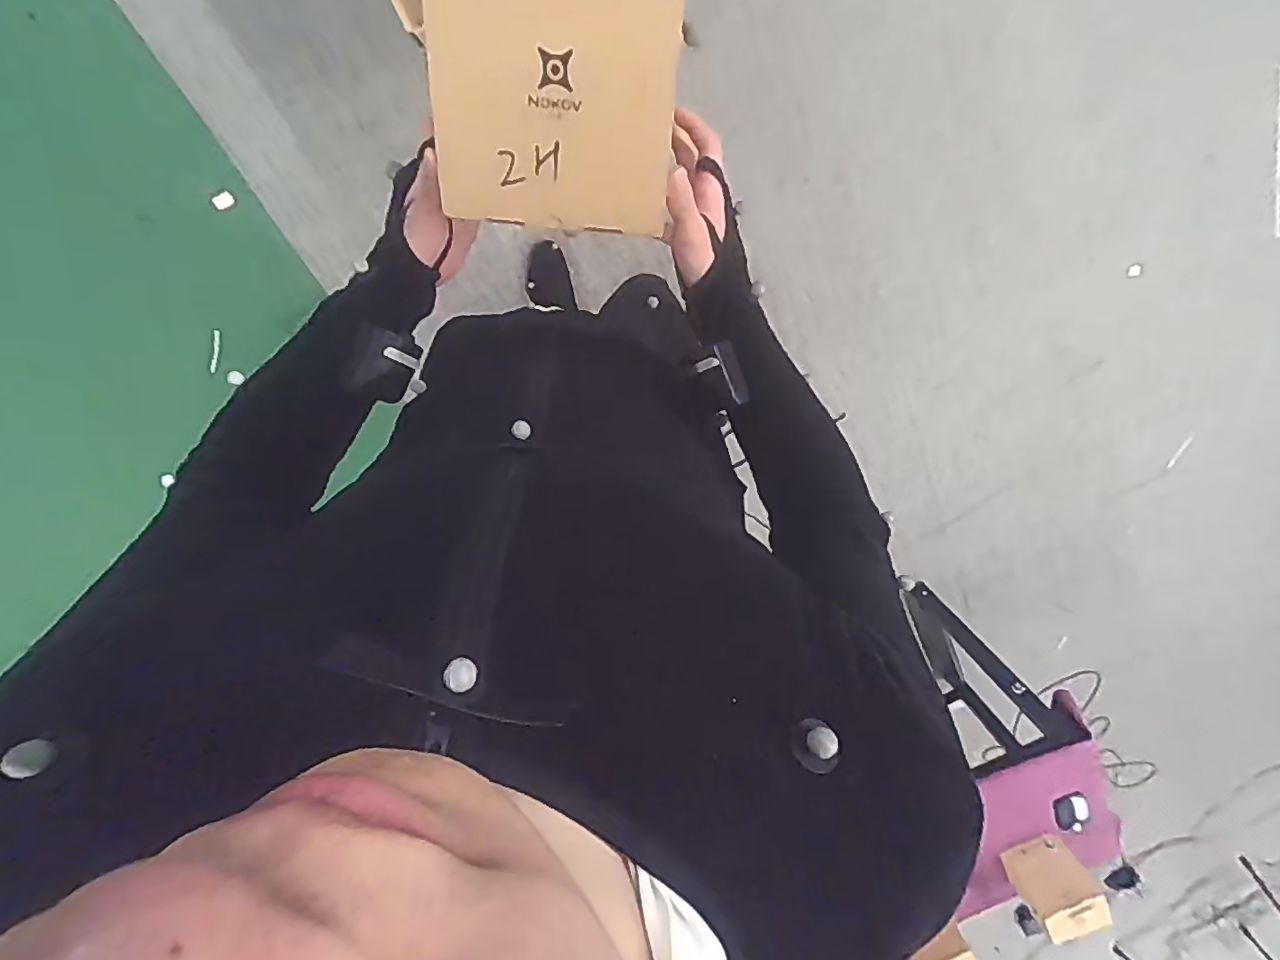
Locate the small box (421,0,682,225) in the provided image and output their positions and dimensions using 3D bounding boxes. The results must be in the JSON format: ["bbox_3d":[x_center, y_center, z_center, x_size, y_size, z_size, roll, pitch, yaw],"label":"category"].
[{"bbox_3d":[-0.059,-0.310,0.423,0.168,0.176,0.179,4,121,-2],"label":"small box"}]

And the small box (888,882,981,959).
[{"bbox_3d":[0.845,1.301,1.548,0.168,0.176,0.179,-29,114,6],"label":"small box"}]

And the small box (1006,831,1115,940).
[{"bbox_3d":[1.151,1.108,1.491,0.168,0.176,0.179,-29,116,7],"label":"small box"}]
